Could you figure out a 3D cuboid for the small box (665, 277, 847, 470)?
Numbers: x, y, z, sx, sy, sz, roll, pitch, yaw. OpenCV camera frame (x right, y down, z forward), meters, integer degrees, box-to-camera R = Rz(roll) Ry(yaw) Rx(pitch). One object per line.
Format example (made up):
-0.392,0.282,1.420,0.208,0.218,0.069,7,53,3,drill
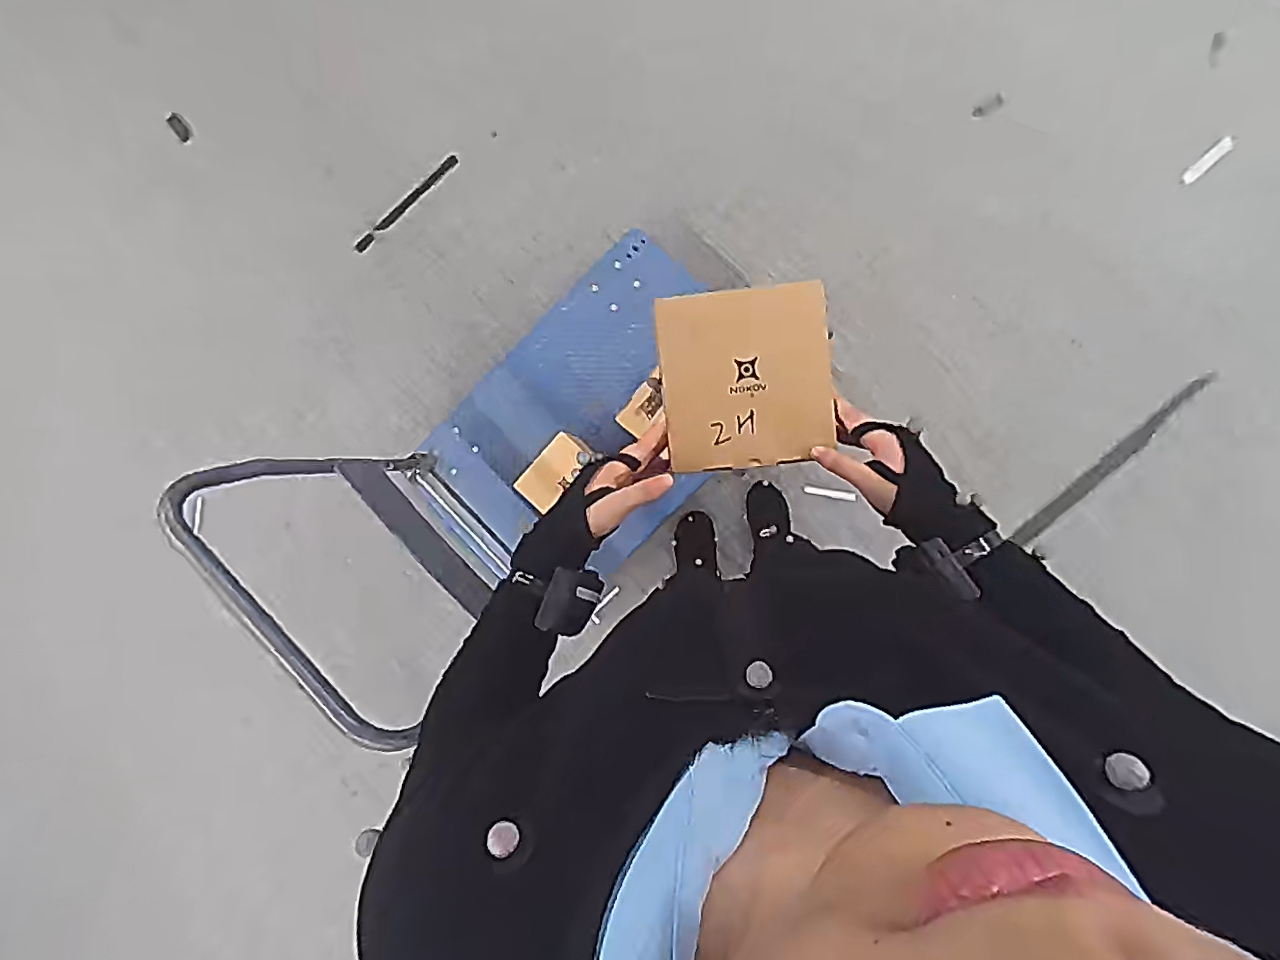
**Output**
0.116,-0.106,0.600,0.168,0.176,0.179,-5,94,3,small box

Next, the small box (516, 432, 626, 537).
-0.152,0.012,1.255,0.179,0.176,0.168,42,93,3,small box
